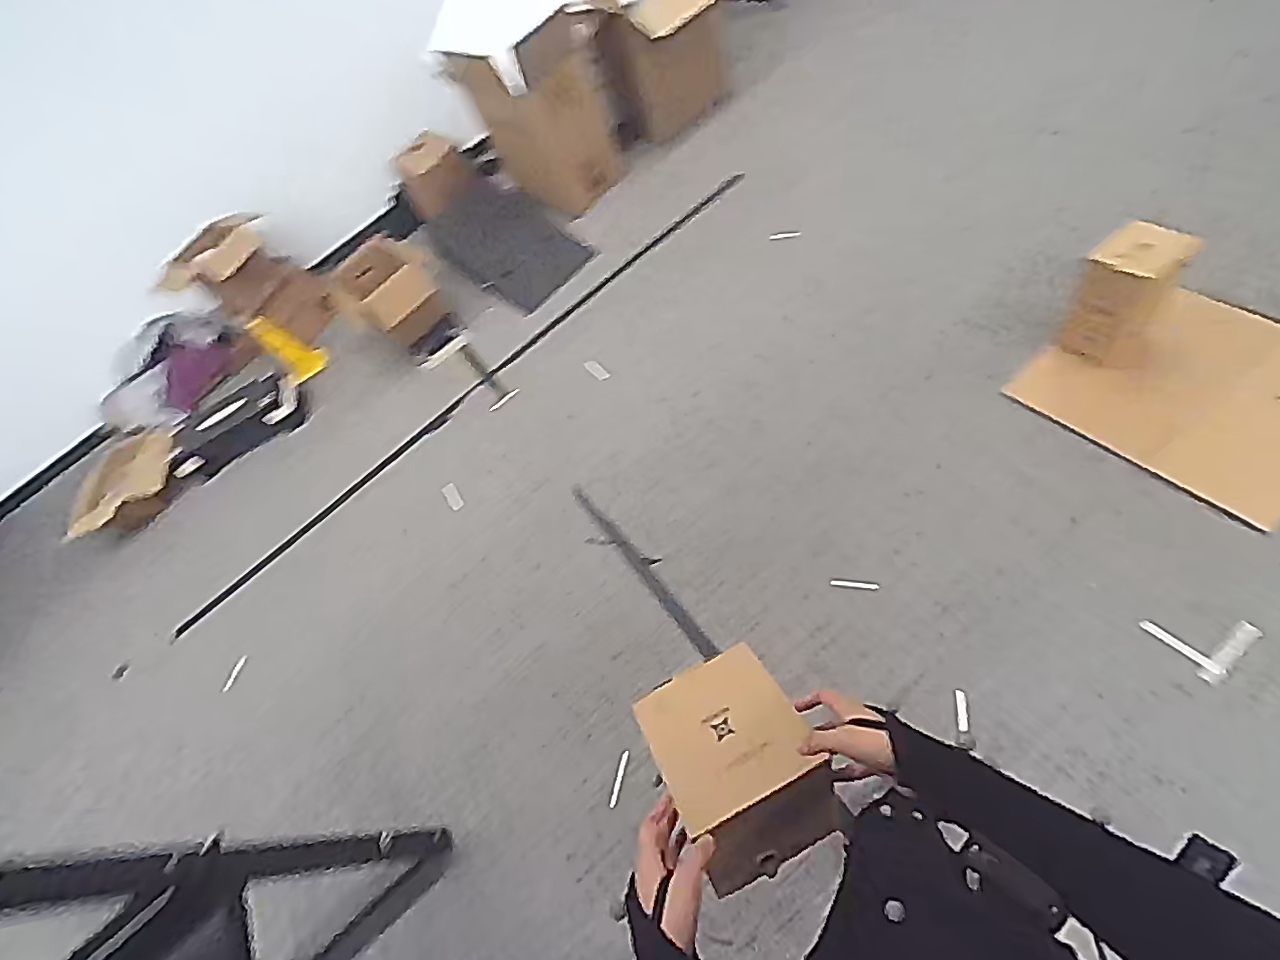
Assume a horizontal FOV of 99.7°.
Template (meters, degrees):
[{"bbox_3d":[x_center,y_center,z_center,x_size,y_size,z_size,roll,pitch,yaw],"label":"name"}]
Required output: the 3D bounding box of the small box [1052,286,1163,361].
[{"bbox_3d":[1.366,-0.487,1.598,0.179,0.176,0.168,-39,55,-3],"label":"small box"}]

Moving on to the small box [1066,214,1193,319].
[{"bbox_3d":[1.313,-0.577,1.469,0.179,0.176,0.168,-38,54,-3],"label":"small box"}]

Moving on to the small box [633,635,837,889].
[{"bbox_3d":[0.111,0.326,0.638,0.168,0.176,0.179,-24,34,-9],"label":"small box"}]
